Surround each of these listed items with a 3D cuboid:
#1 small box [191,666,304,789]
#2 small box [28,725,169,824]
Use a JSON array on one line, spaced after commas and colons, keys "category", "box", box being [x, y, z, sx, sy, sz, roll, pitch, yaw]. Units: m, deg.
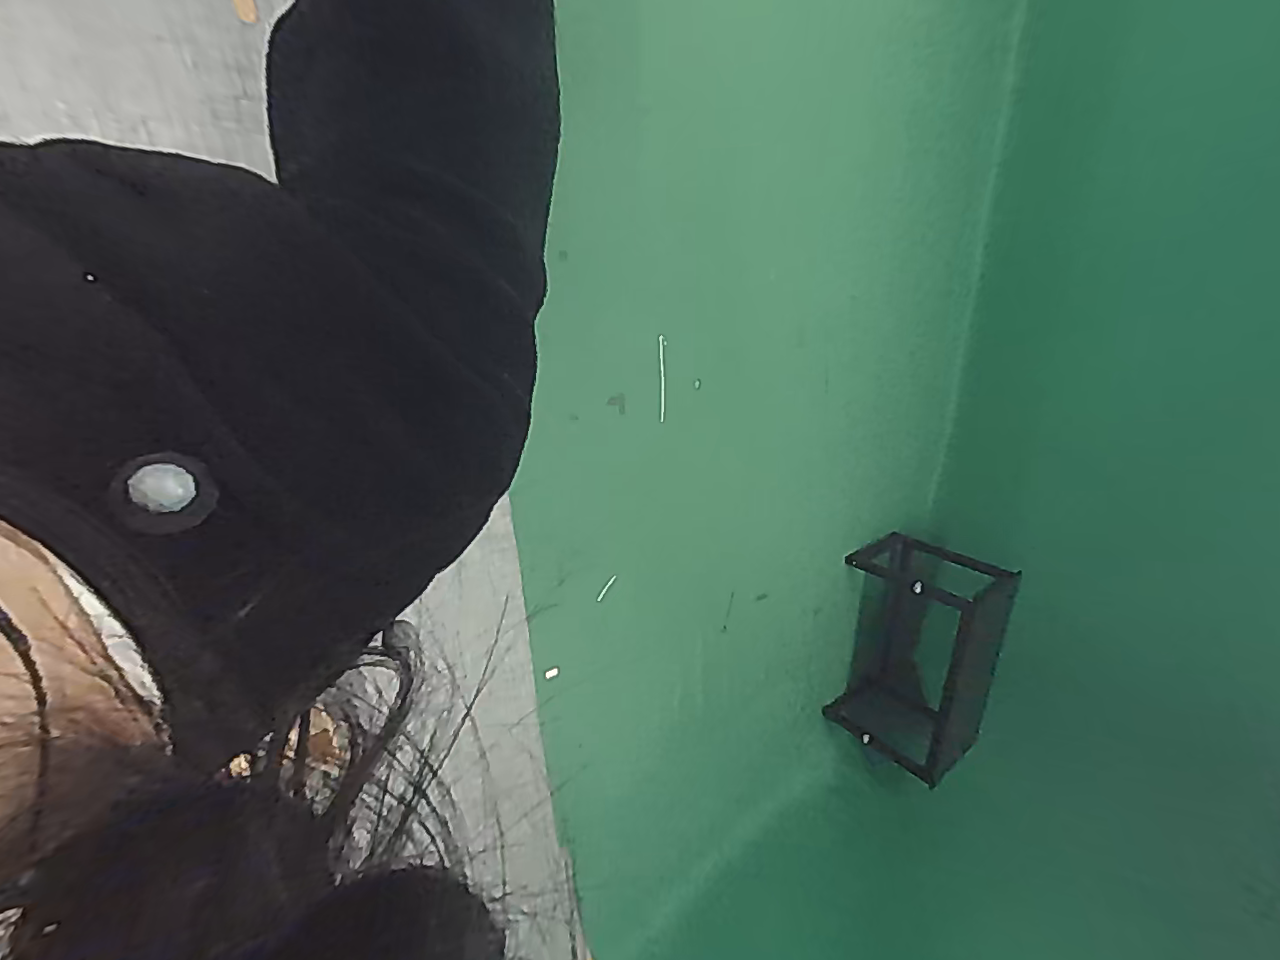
[{"category": "small box", "box": [-0.948, 0.587, 1.308, 0.179, 0.176, 0.168, -23, 118, -30]}, {"category": "small box", "box": [-1.161, 0.673, 1.165, 0.179, 0.176, 0.168, -26, 120, -31]}]
